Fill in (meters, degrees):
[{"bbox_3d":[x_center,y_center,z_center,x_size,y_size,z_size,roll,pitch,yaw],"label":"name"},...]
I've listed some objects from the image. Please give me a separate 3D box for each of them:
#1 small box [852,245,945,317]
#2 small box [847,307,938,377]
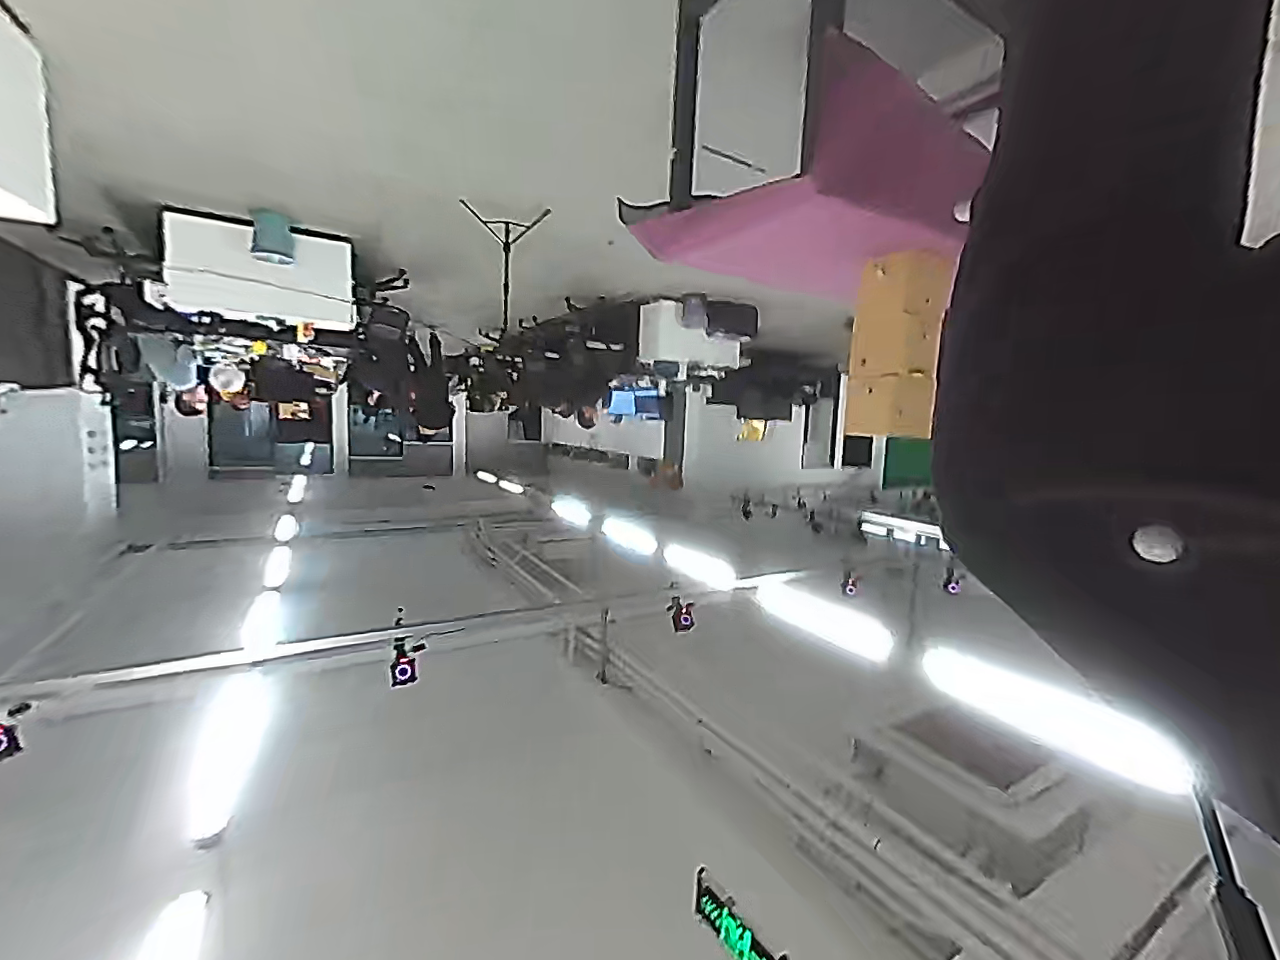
[{"bbox_3d":[0.730,-0.552,1.526,0.179,0.176,0.168,-1,-173,-27],"label":"small box"},{"bbox_3d":[0.723,-0.389,1.549,0.168,0.176,0.179,-3,-172,-32],"label":"small box"}]
